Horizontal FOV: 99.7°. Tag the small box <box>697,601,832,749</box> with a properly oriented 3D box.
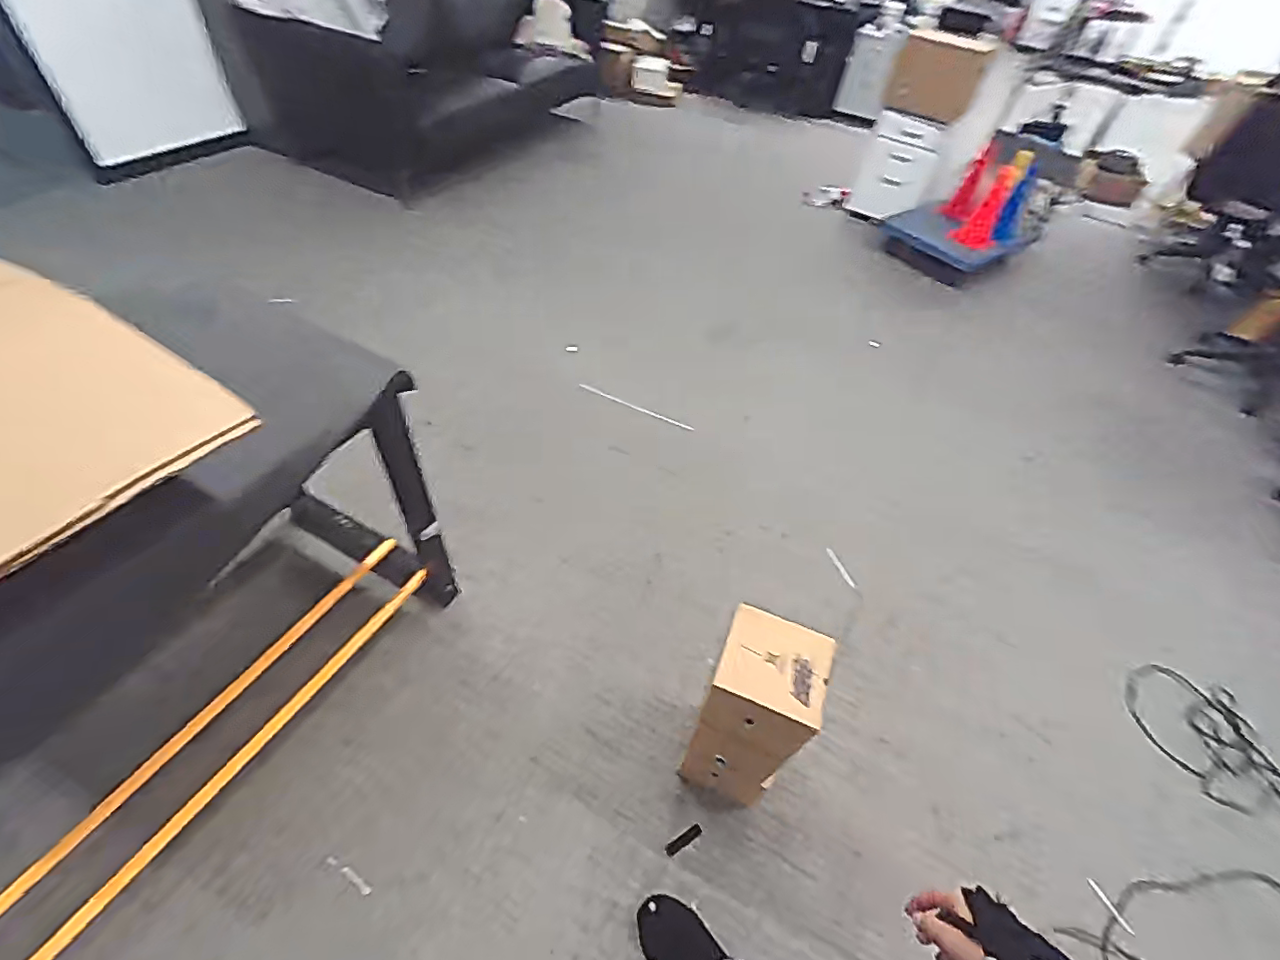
[{"bbox_3d":[0.216,0.351,0.960,0.179,0.176,0.168,20,49,12],"label":"small box"}]

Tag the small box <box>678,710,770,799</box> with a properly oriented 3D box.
[{"bbox_3d":[0.196,0.576,1.198,0.179,0.176,0.168,20,49,11],"label":"small box"}]

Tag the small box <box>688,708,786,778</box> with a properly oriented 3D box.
[{"bbox_3d":[0.204,0.460,1.082,0.168,0.176,0.179,19,50,11],"label":"small box"}]
